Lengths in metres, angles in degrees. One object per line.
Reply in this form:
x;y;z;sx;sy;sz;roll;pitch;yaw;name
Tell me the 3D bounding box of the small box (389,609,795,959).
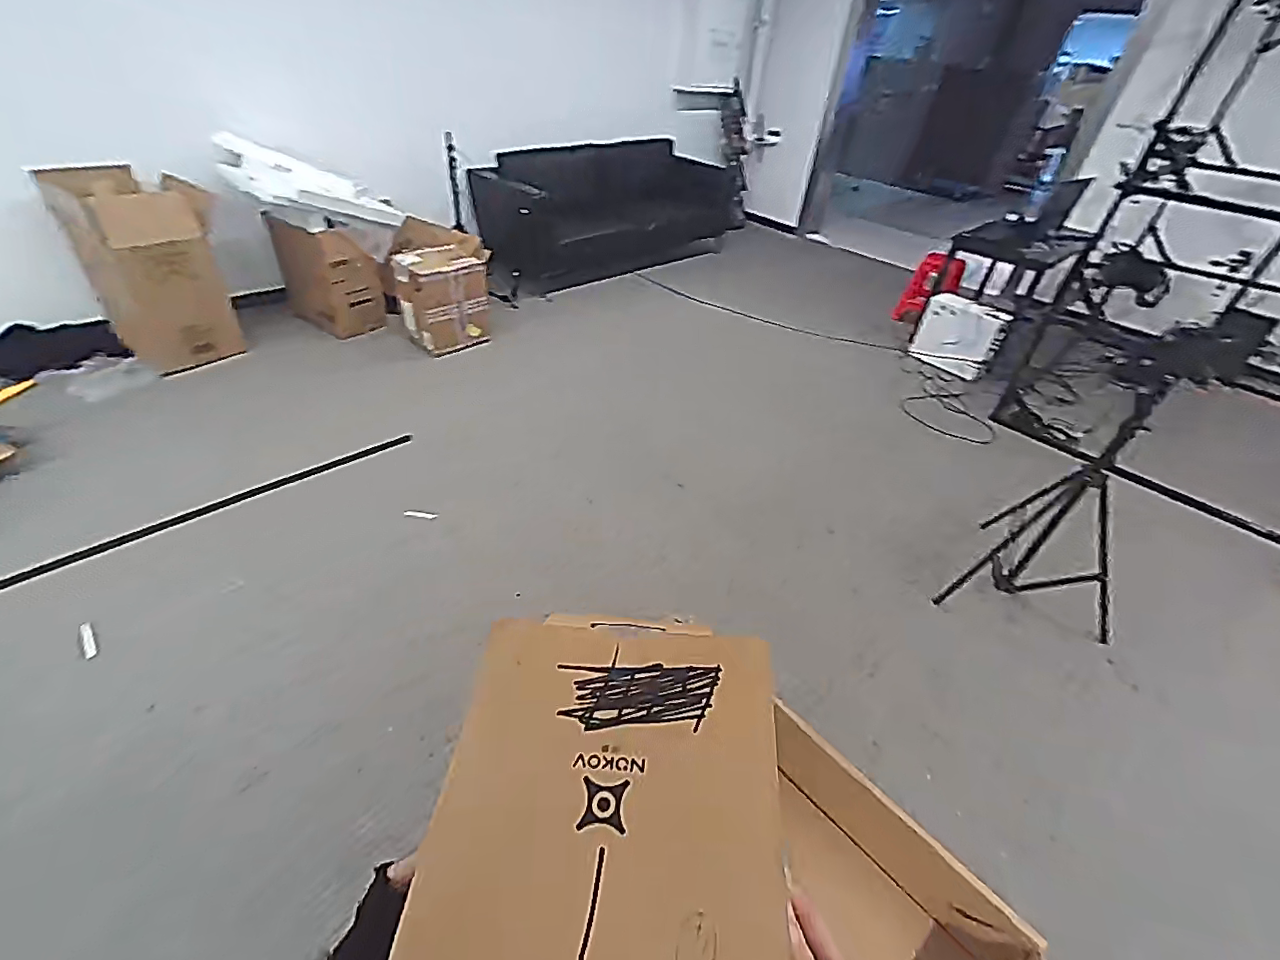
-0.011;0.202;0.323;0.168;0.176;0.179;2;43;5;small box
